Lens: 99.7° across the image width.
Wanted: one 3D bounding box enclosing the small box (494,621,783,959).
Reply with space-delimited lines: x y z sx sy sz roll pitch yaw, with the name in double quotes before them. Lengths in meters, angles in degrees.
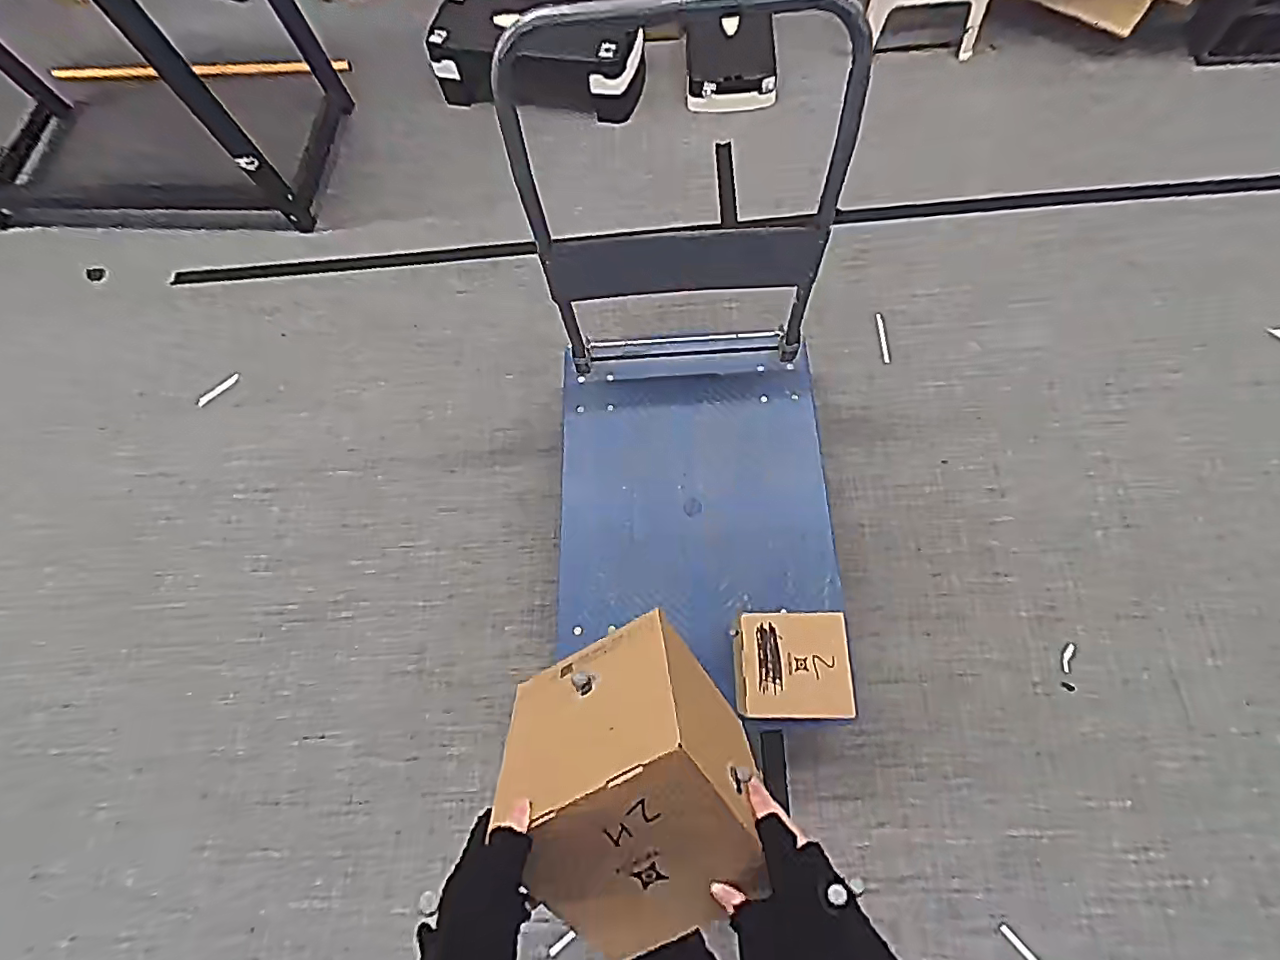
"small box" 0.000 0.265 0.488 0.168 0.176 0.179 -31 108 7
